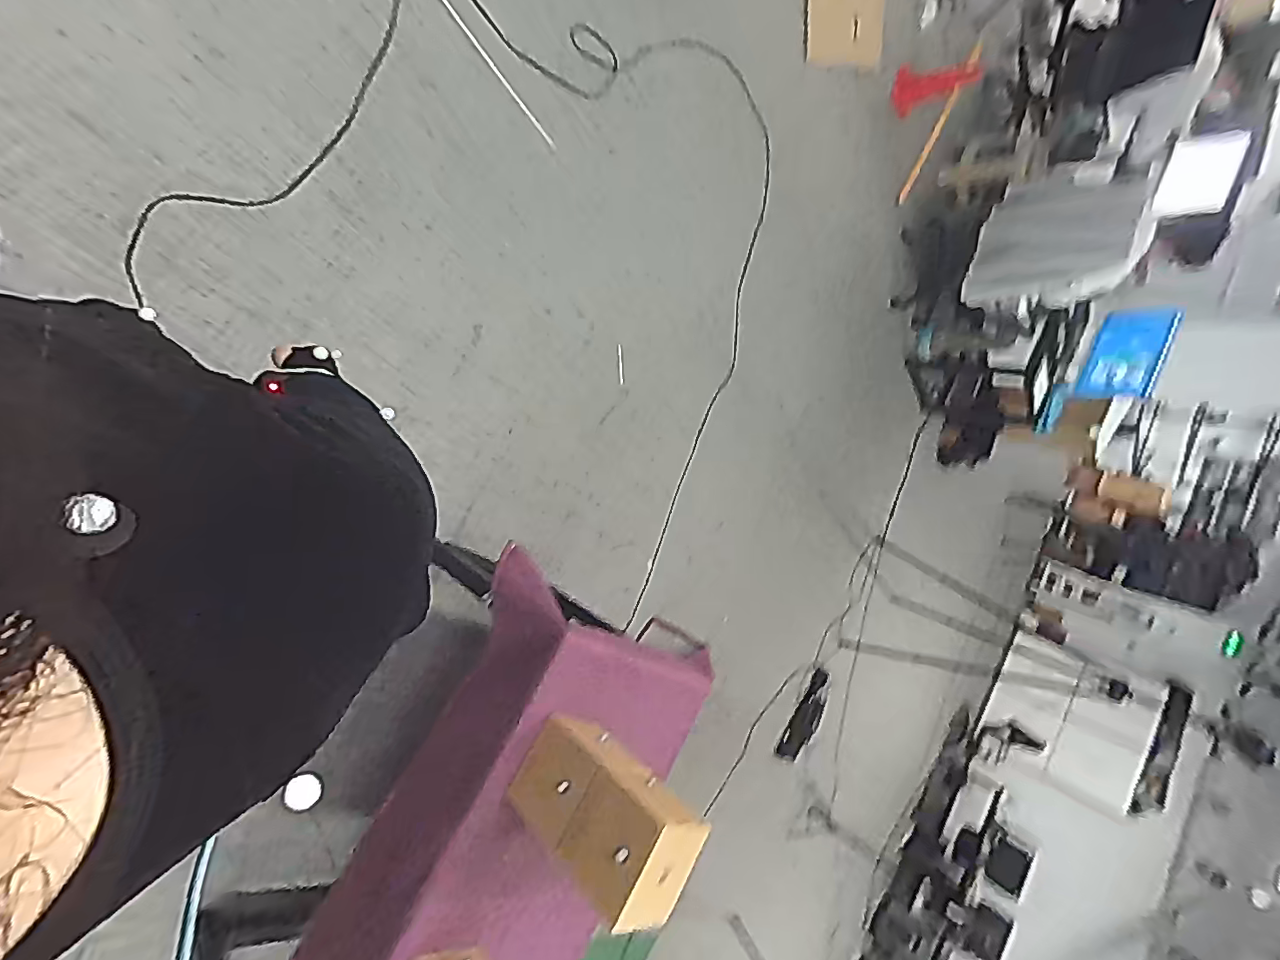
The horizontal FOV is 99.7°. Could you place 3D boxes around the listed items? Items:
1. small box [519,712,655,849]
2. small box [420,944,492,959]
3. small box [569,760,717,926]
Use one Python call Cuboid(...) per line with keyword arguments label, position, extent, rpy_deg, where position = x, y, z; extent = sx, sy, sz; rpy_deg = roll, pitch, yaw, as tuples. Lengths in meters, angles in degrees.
Cuboid(label="small box", position=(-0.108, 0.593, 1.076), extent=(0.168, 0.176, 0.179), rpy_deg=(40, 76, -43))
Cuboid(label="small box", position=(-0.346, 1.008, 0.987), extent=(0.168, 0.176, 0.179), rpy_deg=(40, 74, -44))
Cuboid(label="small box", position=(0.000, 0.635, 0.960), extent=(0.168, 0.176, 0.179), rpy_deg=(40, 74, -43))
